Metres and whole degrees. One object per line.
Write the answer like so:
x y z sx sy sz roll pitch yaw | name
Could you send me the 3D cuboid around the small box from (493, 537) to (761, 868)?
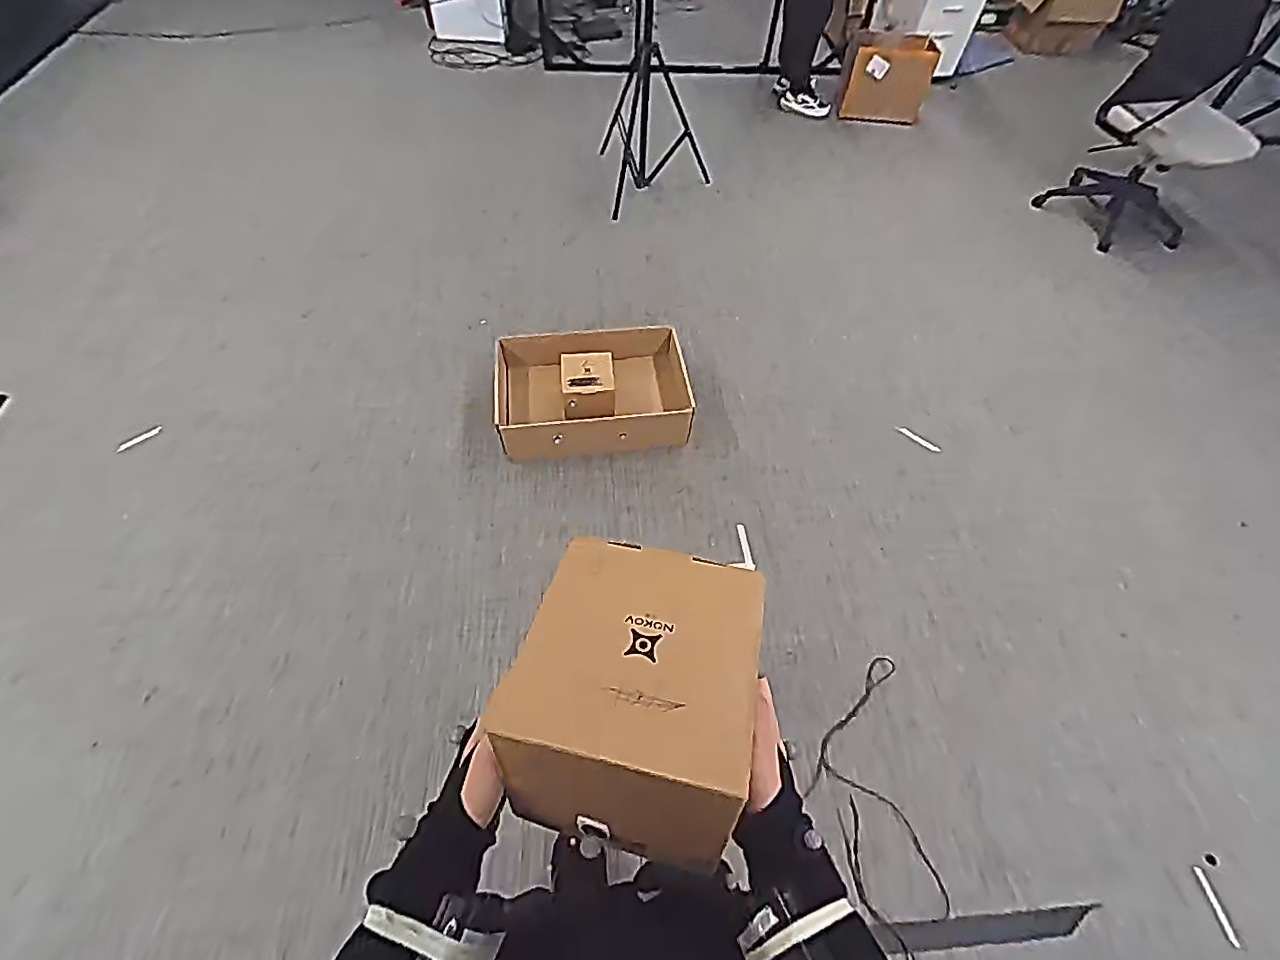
-0.001 0.178 0.446 0.168 0.176 0.179 9 42 9 | small box
